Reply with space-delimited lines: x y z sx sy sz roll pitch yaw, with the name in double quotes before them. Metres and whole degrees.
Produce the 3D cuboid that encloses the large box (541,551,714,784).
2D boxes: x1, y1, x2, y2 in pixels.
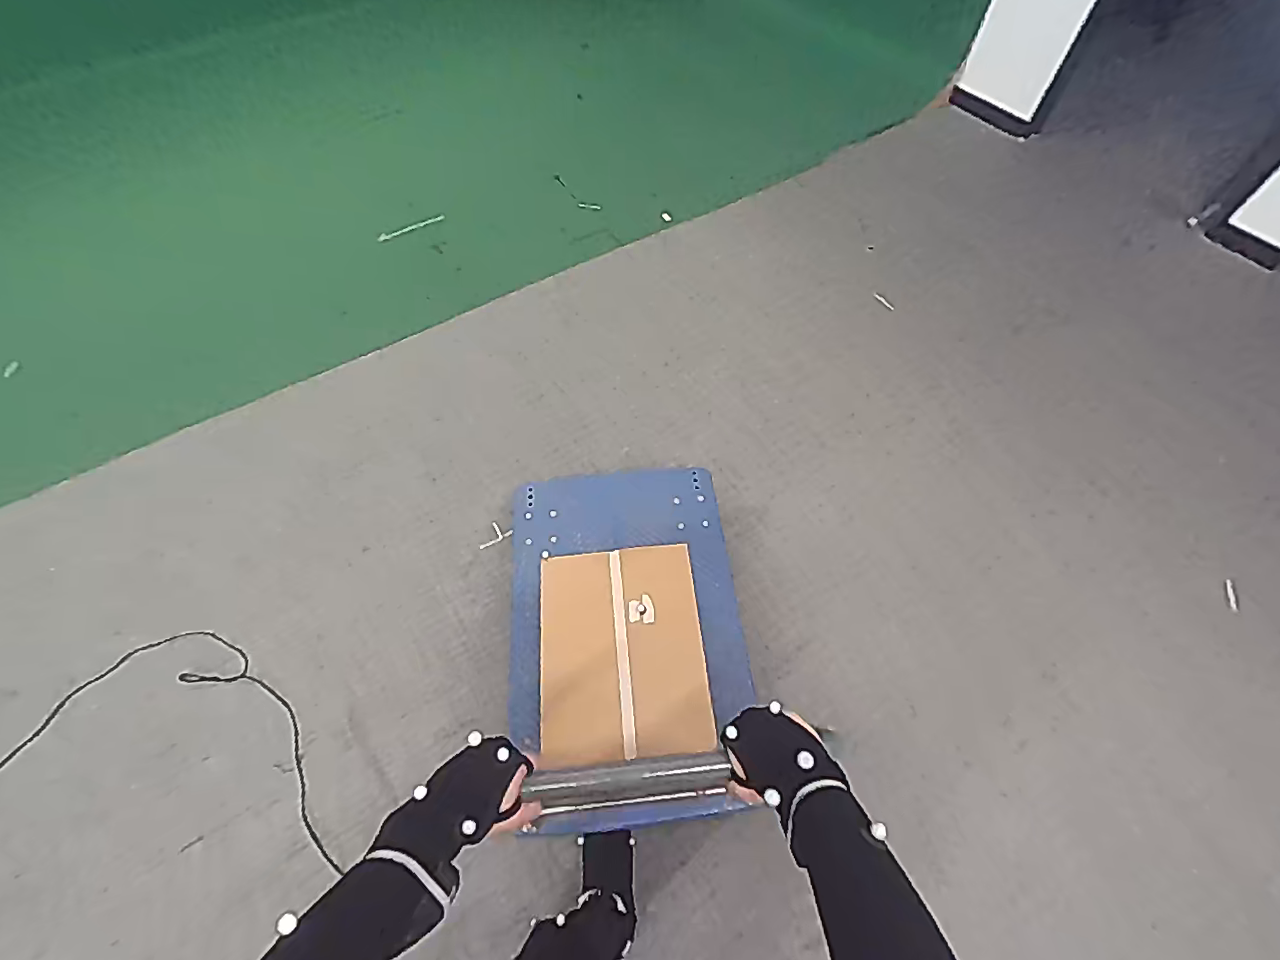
"large box" -0.034 0.414 1.184 0.320 0.320 0.408 -5 58 -2
